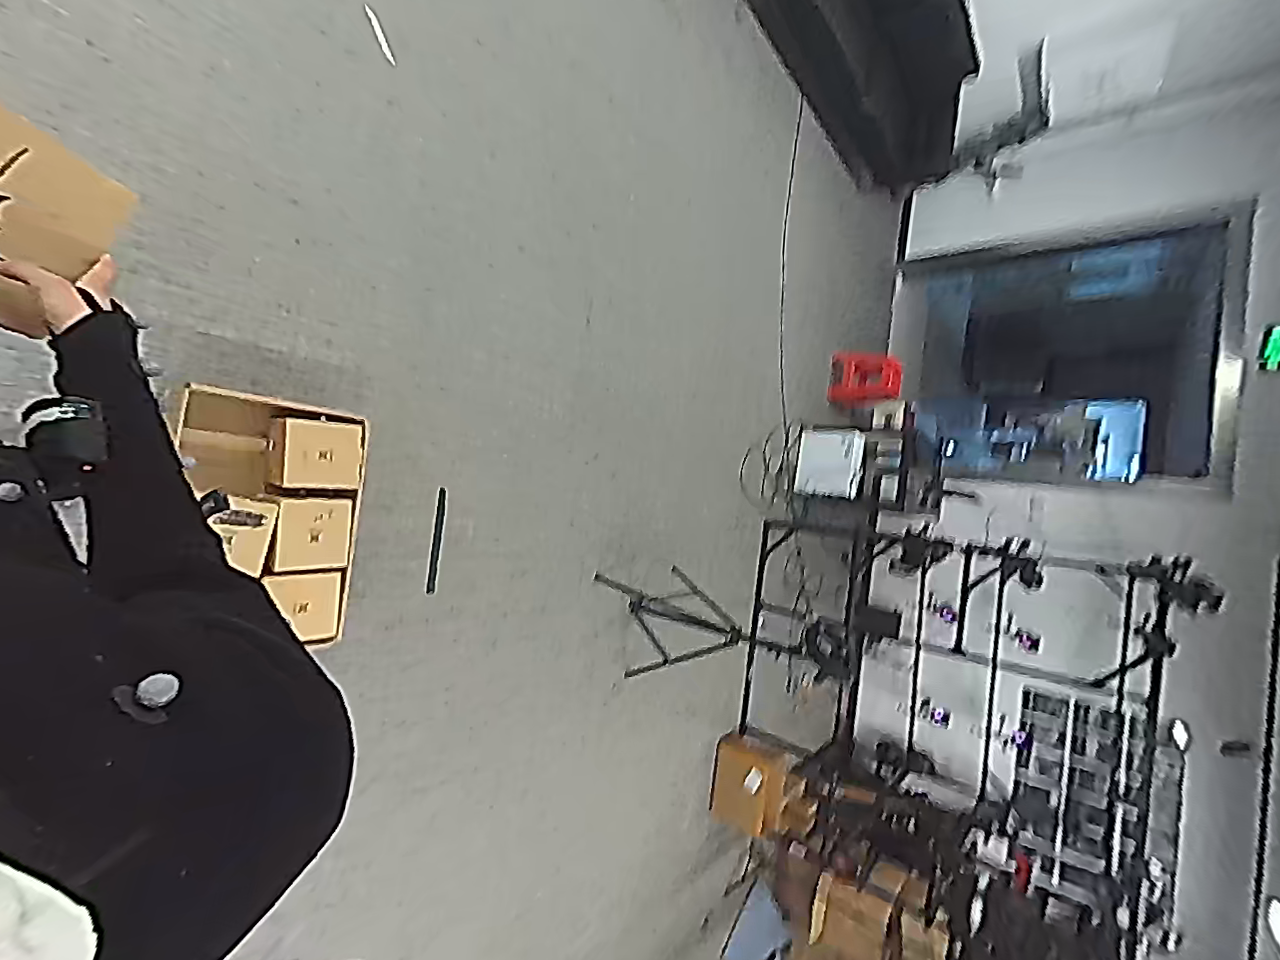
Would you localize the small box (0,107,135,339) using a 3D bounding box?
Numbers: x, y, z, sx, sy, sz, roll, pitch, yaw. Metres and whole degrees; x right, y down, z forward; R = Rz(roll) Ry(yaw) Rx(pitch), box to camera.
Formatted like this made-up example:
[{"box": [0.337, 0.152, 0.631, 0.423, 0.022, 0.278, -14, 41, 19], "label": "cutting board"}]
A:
[{"box": [-0.643, -0.263, 0.506, 0.179, 0.176, 0.168, -64, 152, -8], "label": "small box"}]
